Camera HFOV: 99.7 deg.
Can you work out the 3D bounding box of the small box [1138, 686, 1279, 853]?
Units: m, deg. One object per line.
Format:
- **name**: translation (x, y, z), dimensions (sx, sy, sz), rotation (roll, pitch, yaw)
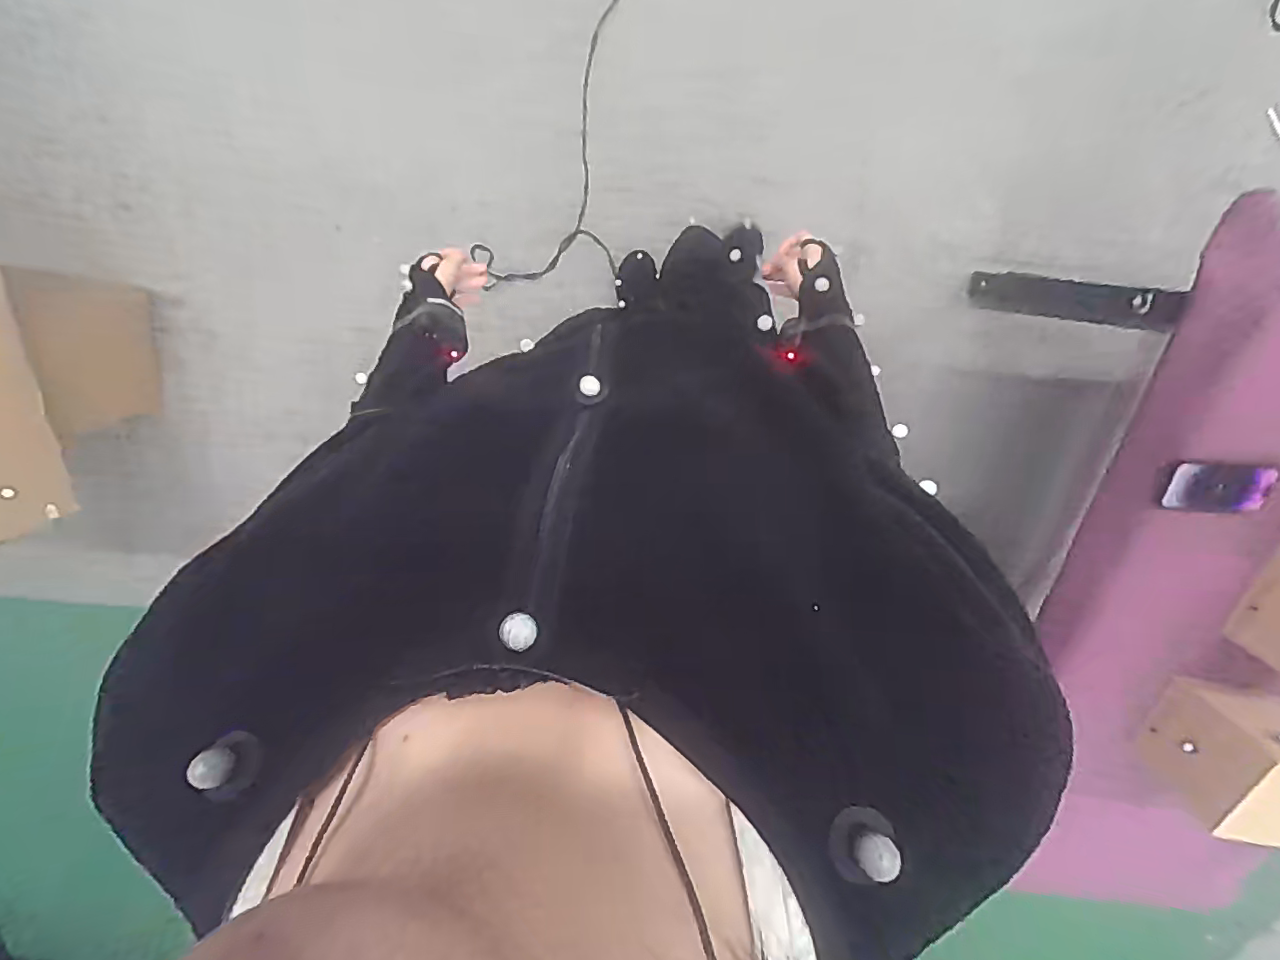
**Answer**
- **small box**: translation (0.972, 0.456, 0.862), dimensions (0.179, 0.176, 0.168), rotation (11, 114, -3)
